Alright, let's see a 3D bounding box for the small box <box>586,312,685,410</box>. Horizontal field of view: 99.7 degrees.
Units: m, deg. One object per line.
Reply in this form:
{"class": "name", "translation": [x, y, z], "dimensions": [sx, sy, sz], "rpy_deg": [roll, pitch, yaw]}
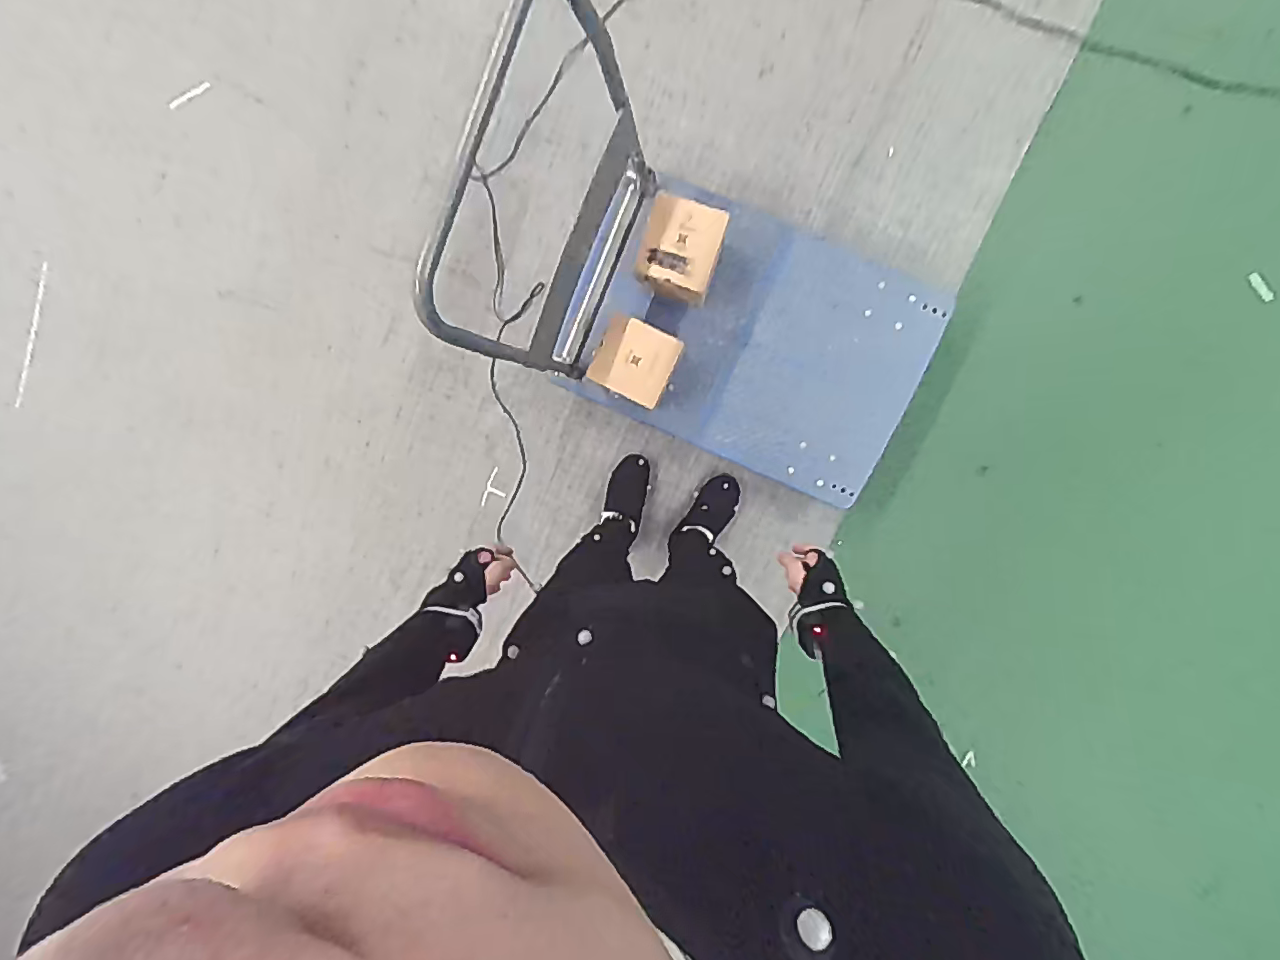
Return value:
{"class": "small box", "translation": [-0.006, -0.277, 1.294], "dimensions": [0.179, 0.176, 0.168], "rpy_deg": [27, 99, 0]}
